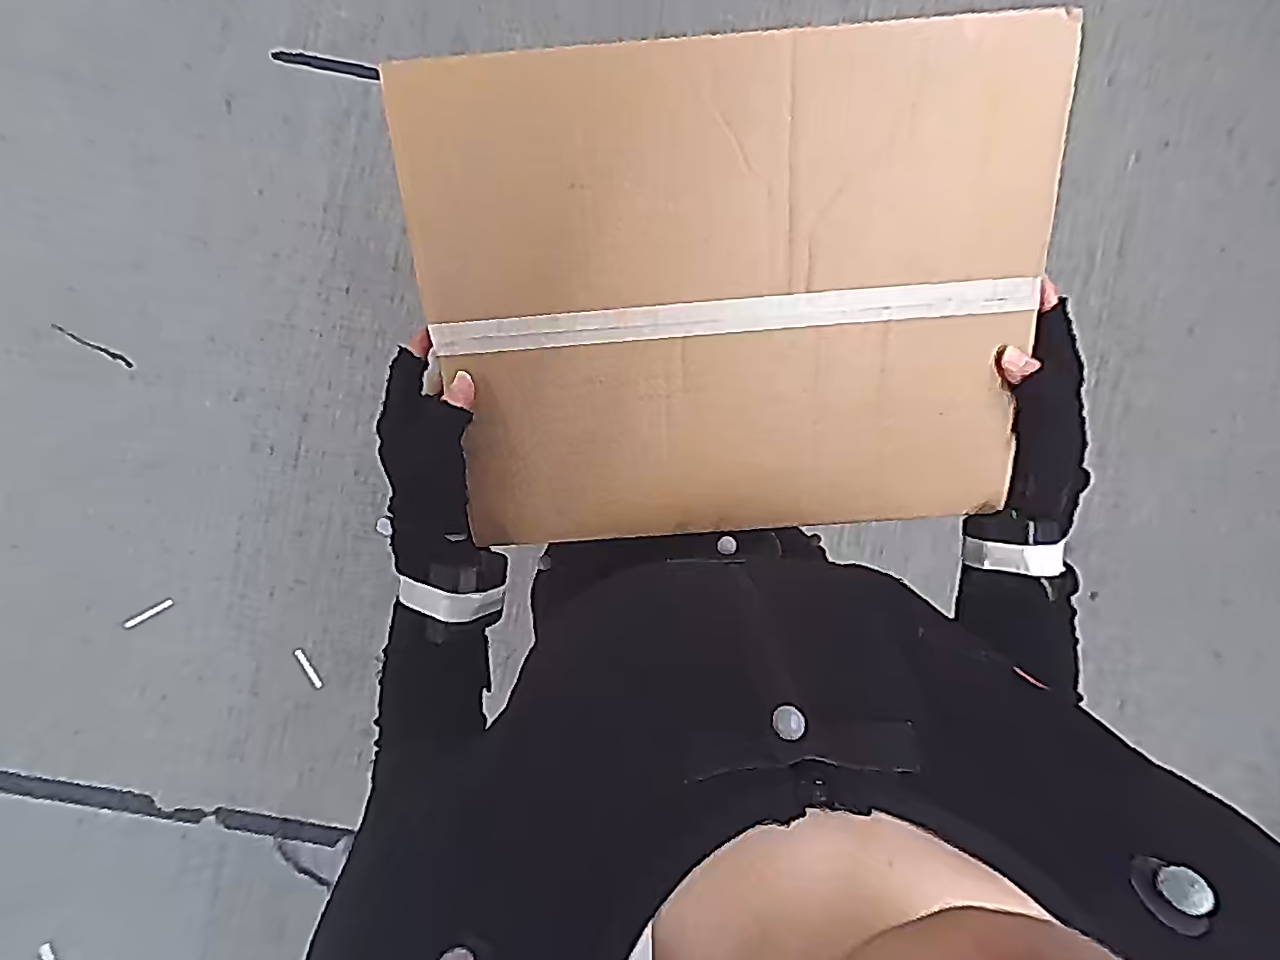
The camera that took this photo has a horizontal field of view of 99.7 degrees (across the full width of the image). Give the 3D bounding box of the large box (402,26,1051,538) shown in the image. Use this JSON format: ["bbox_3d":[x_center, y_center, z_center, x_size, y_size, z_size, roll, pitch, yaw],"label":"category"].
[{"bbox_3d":[0.058,-0.162,0.516,0.408,0.320,0.320,-4,111,1],"label":"large box"}]
